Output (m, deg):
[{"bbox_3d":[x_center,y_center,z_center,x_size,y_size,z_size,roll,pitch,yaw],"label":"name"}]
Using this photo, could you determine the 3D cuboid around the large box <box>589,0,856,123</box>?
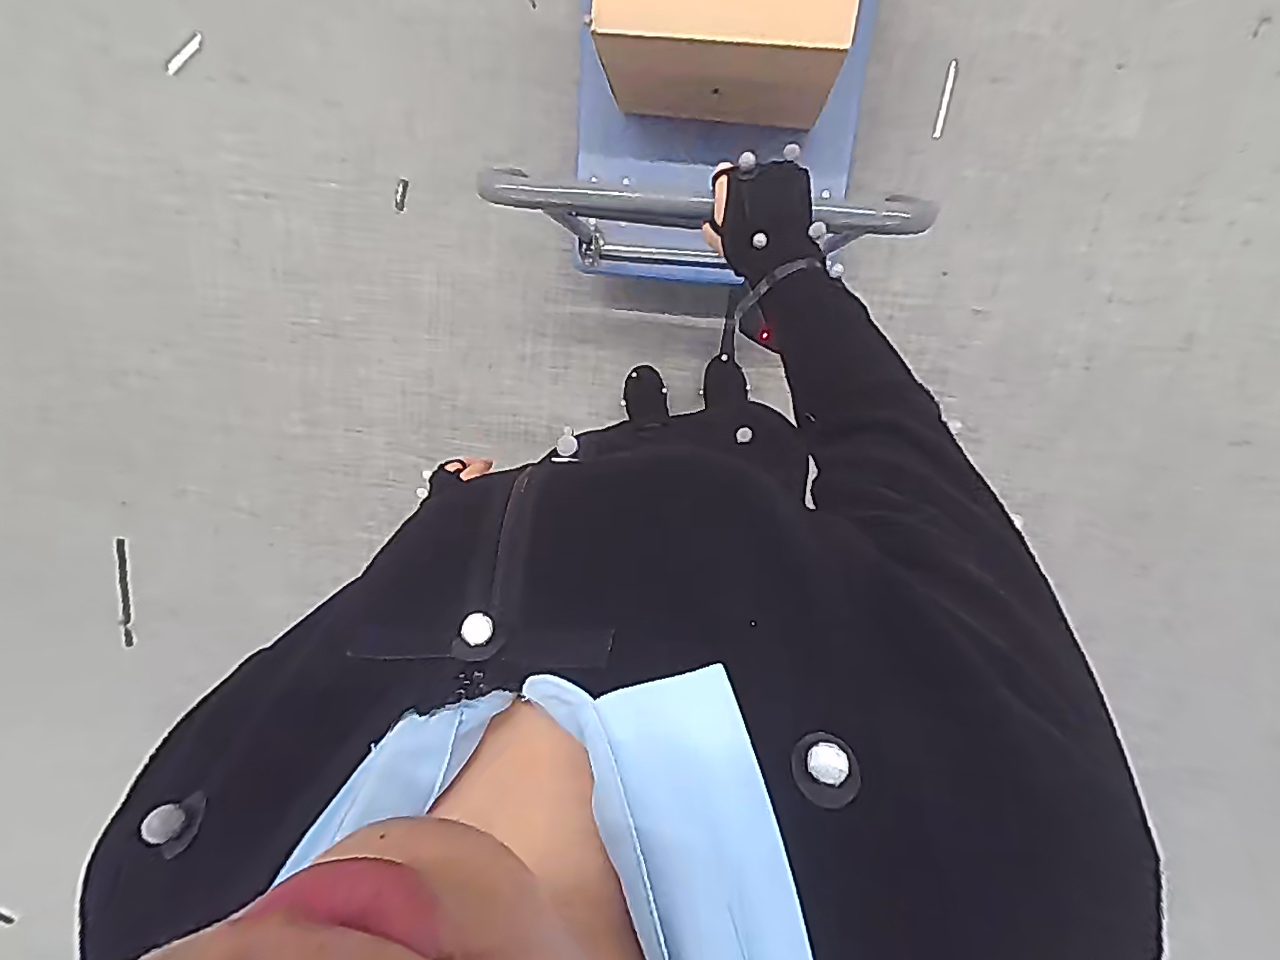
[{"bbox_3d":[0.151,-0.853,0.931,0.408,0.320,0.320,8,103,6],"label":"large box"}]
